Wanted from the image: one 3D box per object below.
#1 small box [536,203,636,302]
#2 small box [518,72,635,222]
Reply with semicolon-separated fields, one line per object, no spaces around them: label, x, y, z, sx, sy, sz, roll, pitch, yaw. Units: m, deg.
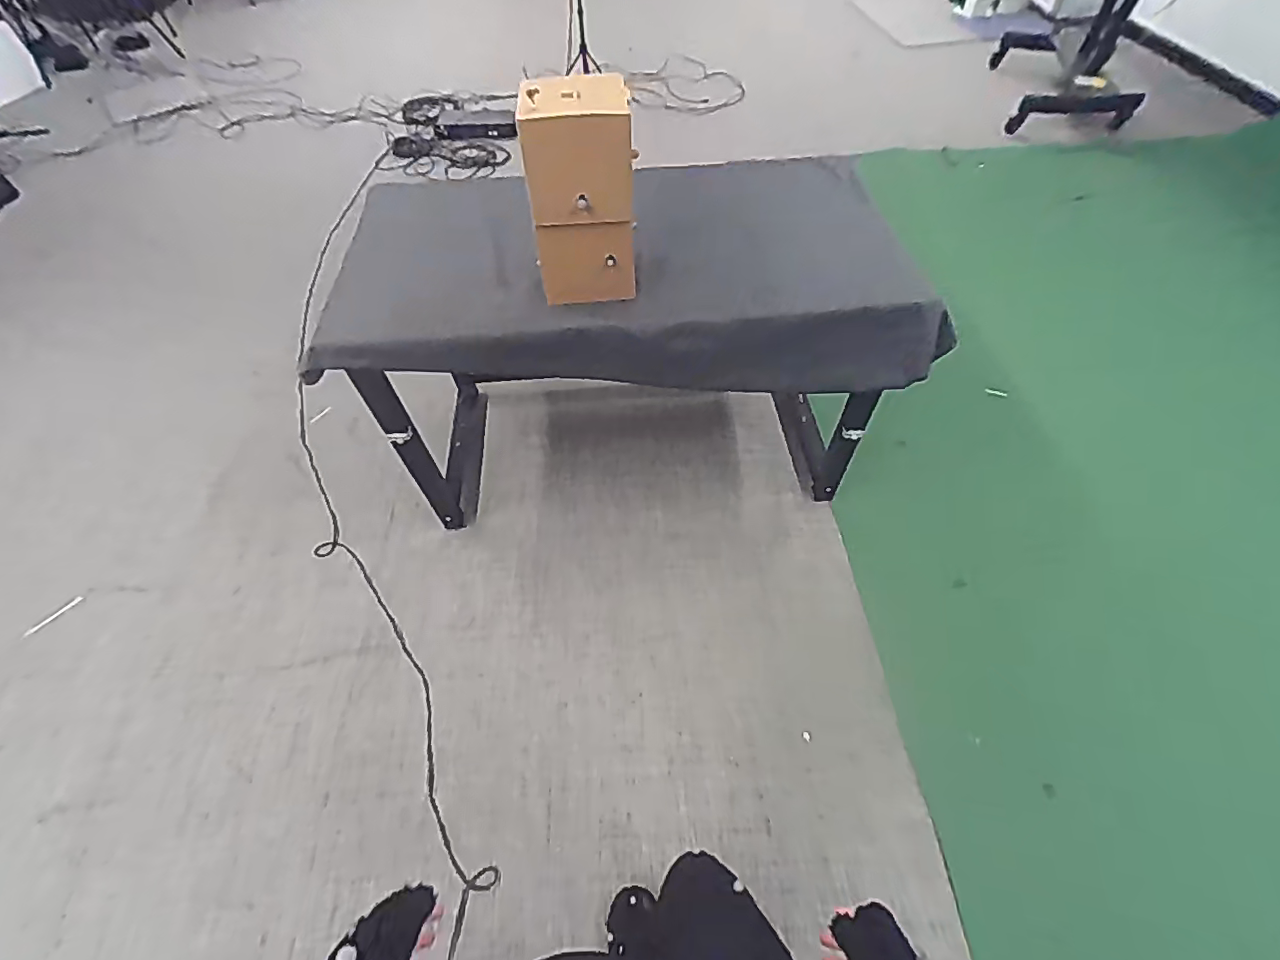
small box;-0.099;-0.470;1.053;0.179;0.176;0.168;-6;54;-1
small box;-0.101;-0.560;0.917;0.179;0.176;0.168;-4;54;-2
